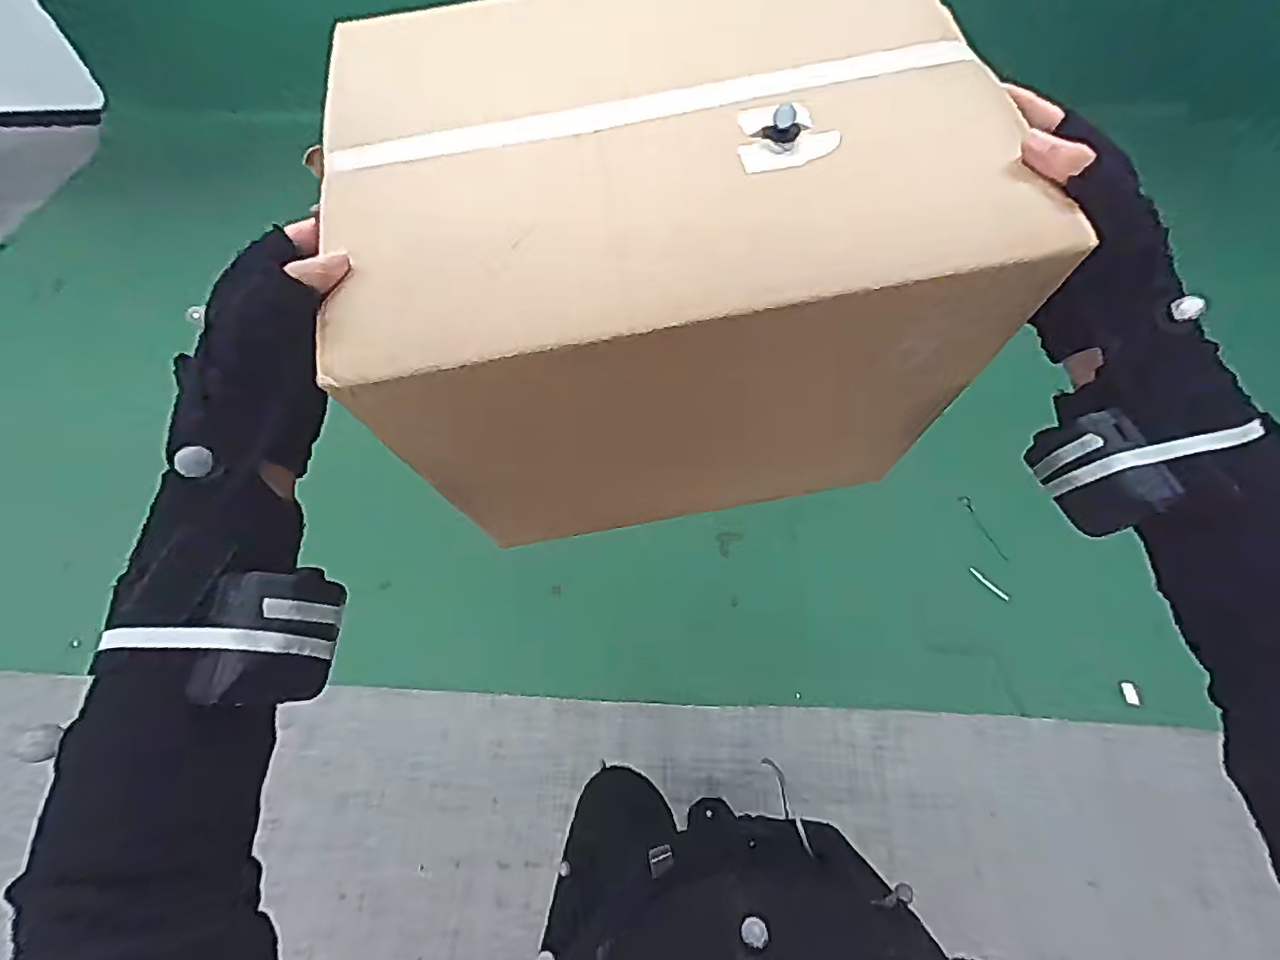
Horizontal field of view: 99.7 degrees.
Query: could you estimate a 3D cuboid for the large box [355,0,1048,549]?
[{"bbox_3d":[0.016,-0.158,0.493,0.408,0.320,0.320,-11,68,-2],"label":"large box"}]
